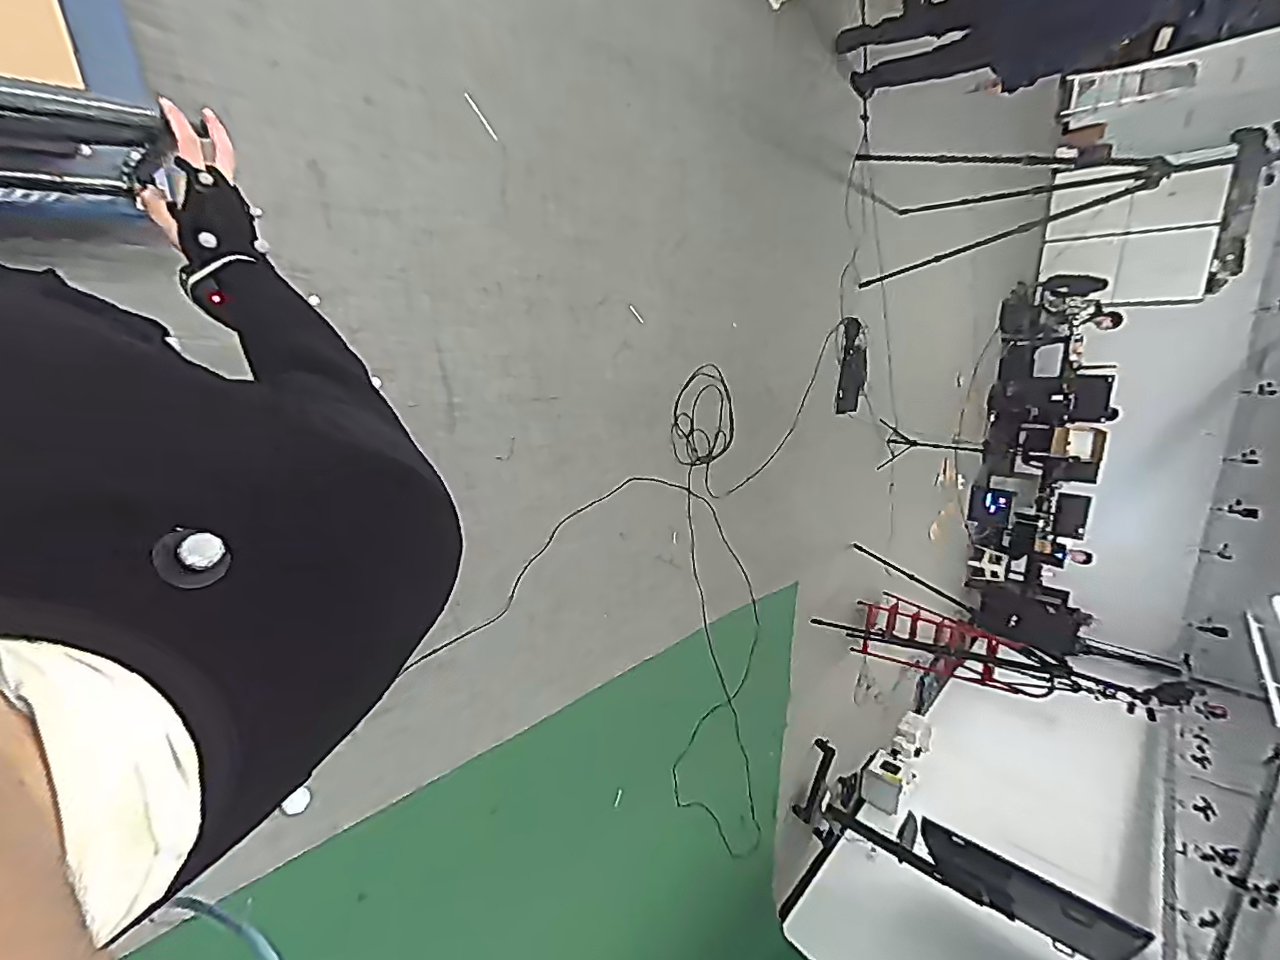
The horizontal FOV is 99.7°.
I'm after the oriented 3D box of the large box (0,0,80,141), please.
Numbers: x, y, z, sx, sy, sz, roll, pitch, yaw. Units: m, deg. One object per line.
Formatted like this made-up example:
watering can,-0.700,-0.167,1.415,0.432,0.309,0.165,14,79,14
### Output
large box,-1.033,-0.732,0.719,0.320,0.320,0.408,-21,114,-43
